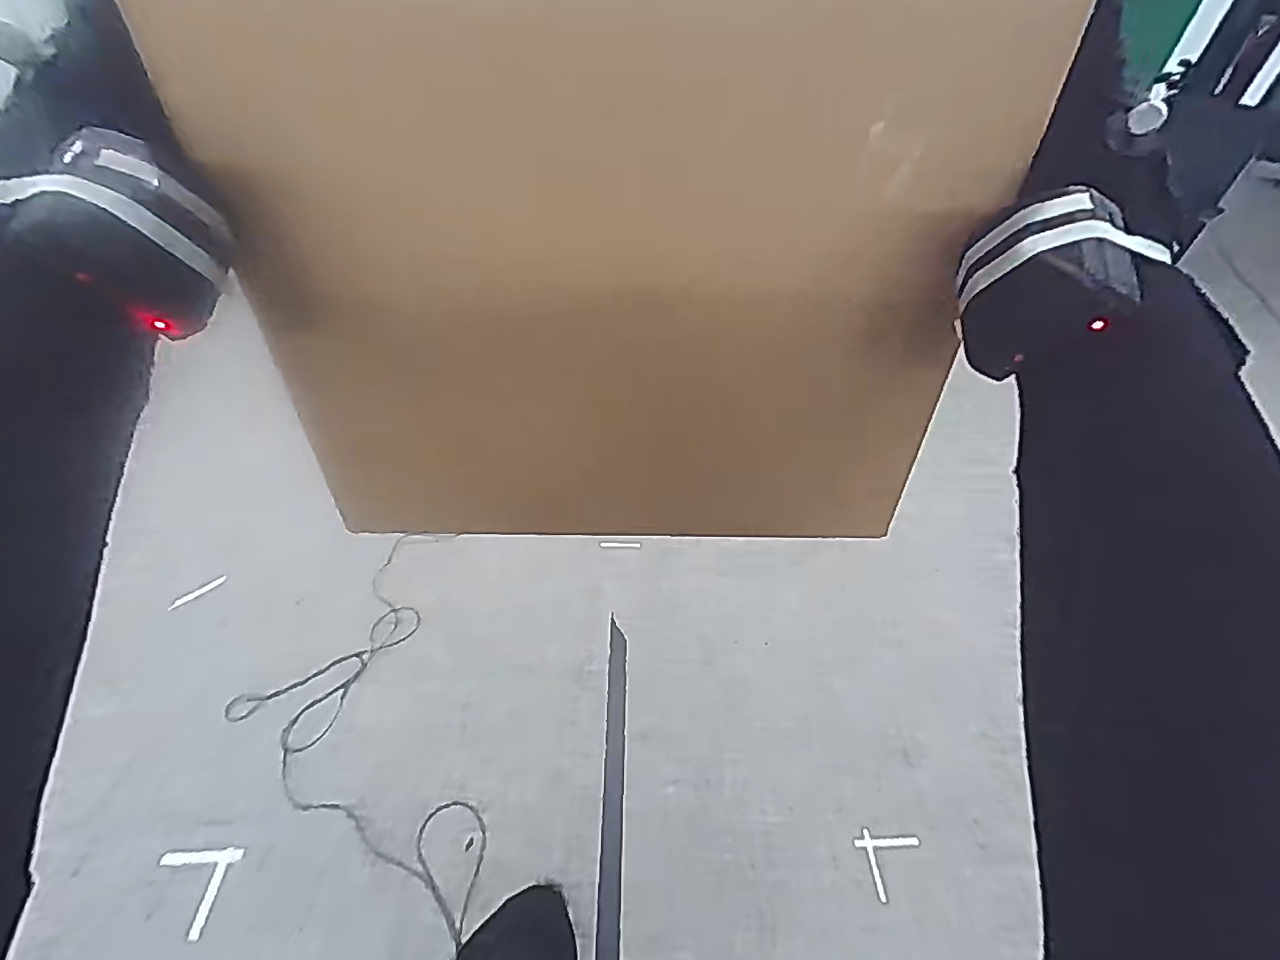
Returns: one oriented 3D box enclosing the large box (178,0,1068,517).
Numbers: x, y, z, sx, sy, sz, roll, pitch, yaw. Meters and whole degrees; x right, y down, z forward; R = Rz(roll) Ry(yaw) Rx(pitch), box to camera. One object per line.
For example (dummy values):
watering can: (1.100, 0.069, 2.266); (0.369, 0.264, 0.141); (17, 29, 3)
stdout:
large box: (-0.013, -0.181, 0.440); (0.408, 0.320, 0.320); (1, 38, -1)
